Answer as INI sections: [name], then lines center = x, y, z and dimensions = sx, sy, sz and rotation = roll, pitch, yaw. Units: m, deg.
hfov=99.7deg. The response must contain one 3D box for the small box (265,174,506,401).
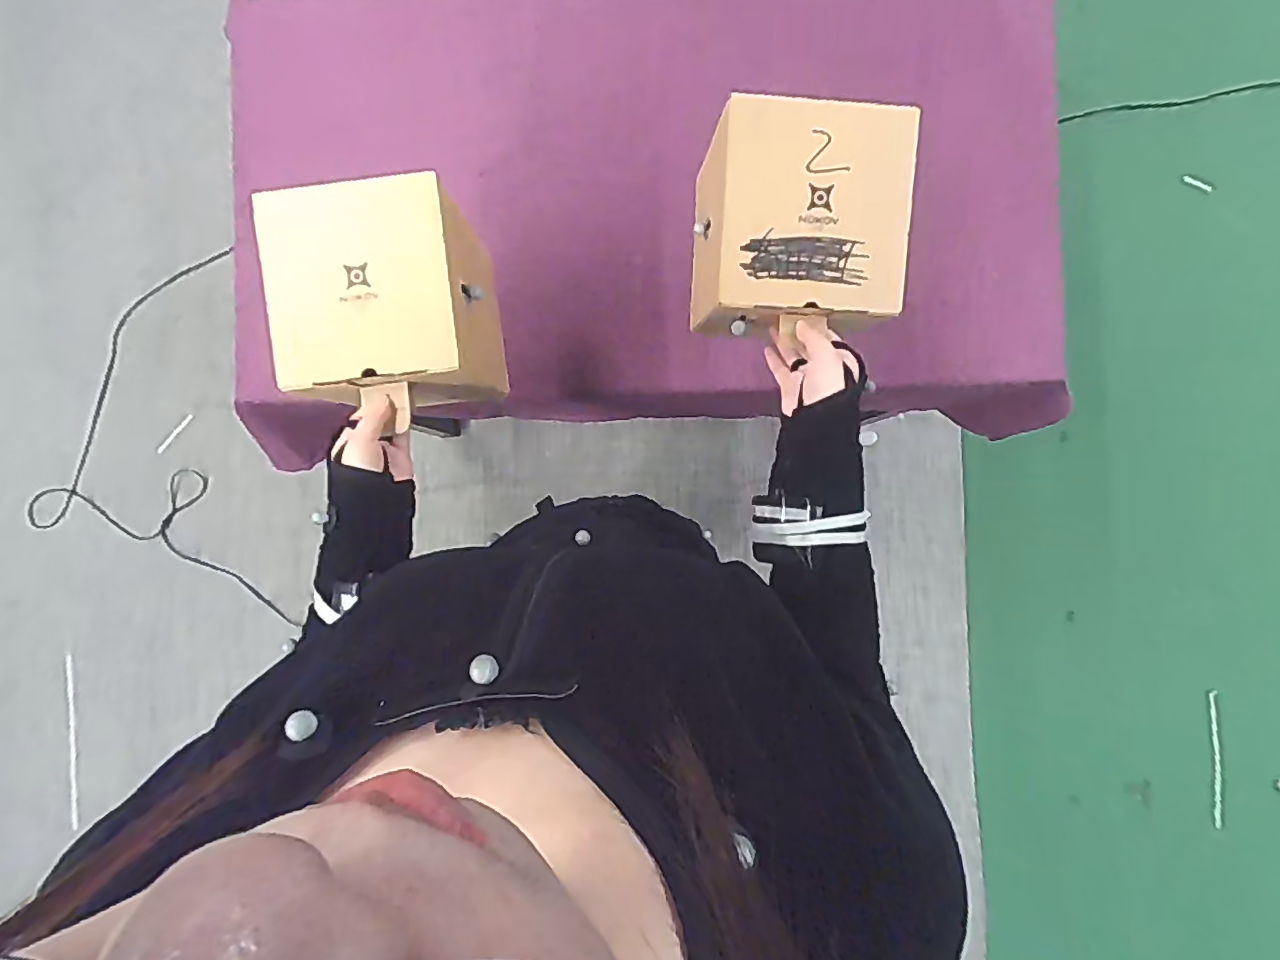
[small box]
center = -0.249, -0.186, 0.570
dimensions = 0.168, 0.176, 0.179
rotation = -6, 93, 1
